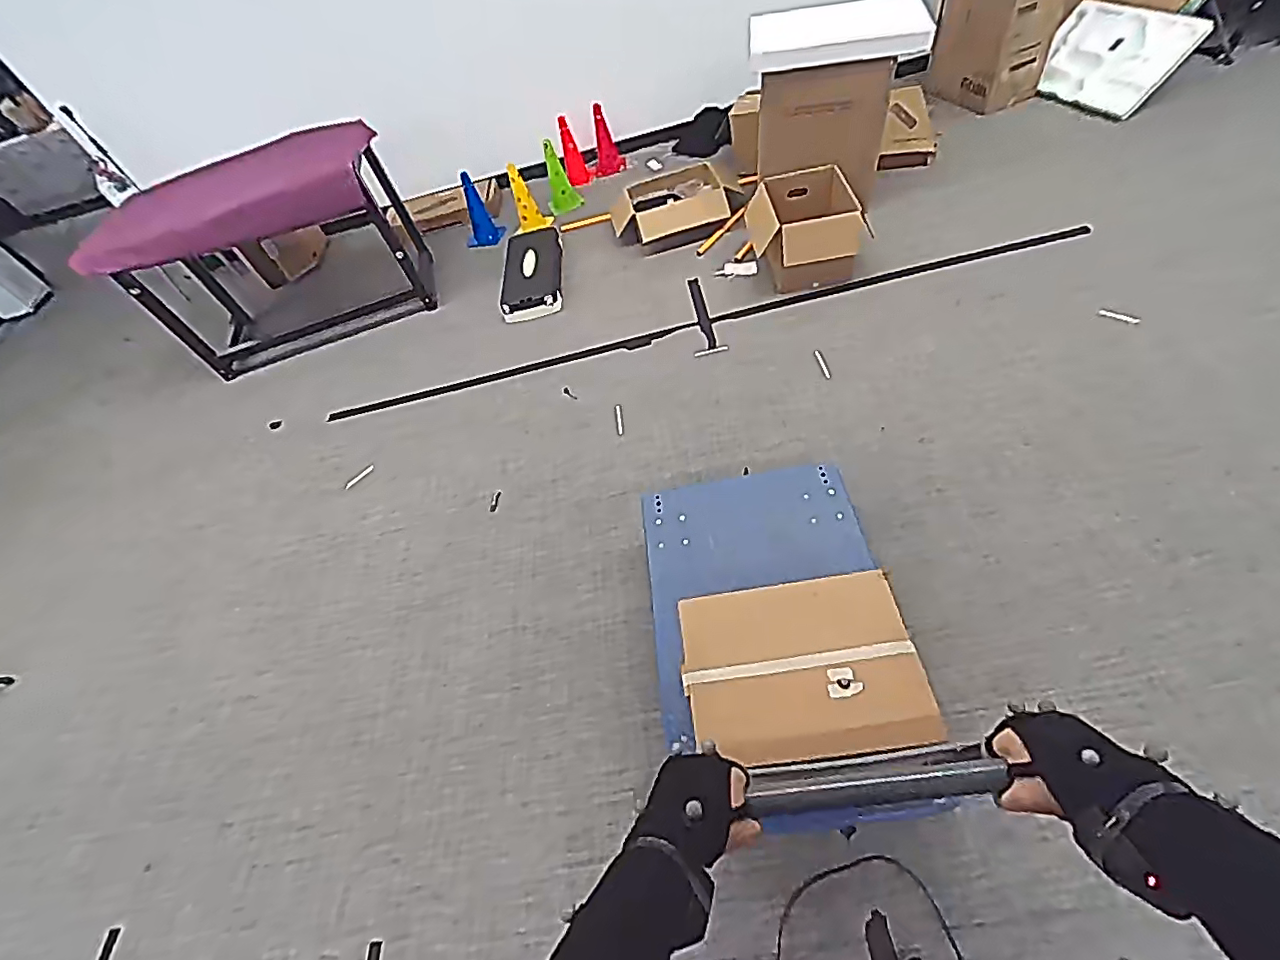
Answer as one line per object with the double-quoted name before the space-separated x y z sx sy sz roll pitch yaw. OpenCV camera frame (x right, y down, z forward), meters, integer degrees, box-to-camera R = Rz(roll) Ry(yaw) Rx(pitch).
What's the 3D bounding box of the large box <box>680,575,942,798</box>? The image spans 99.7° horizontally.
"large box" 0.314 0.431 1.104 0.408 0.320 0.320 -10 53 5
